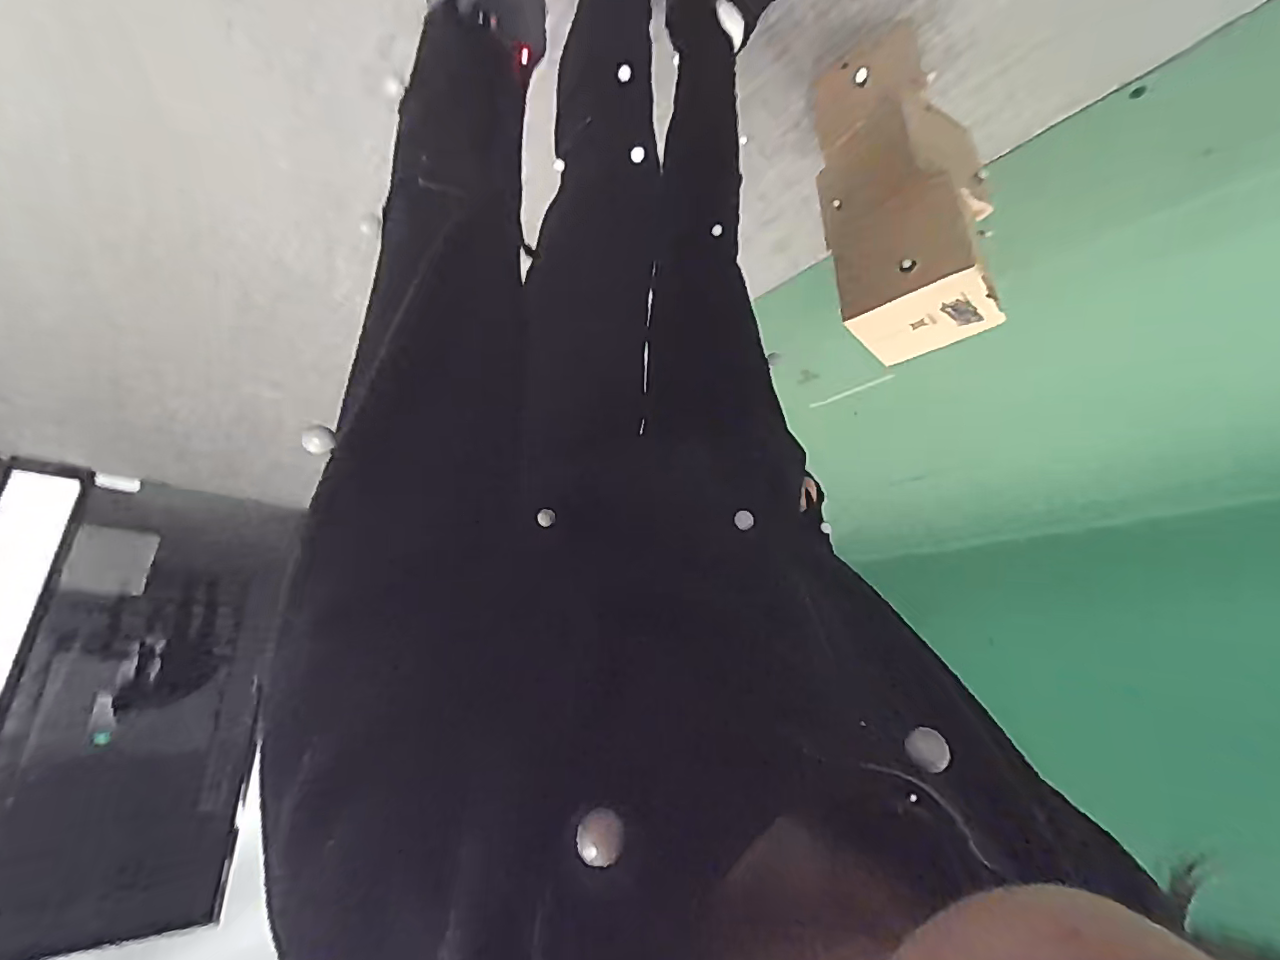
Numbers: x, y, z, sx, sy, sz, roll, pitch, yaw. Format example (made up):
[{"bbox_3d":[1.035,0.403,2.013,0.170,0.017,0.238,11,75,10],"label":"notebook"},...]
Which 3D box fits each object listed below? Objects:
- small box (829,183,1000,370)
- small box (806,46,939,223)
[{"bbox_3d":[0.407,-0.298,0.815,0.179,0.176,0.168,-19,152,40],"label":"small box"},{"bbox_3d":[0.402,-0.602,0.943,0.168,0.176,0.179,-15,153,33],"label":"small box"}]
